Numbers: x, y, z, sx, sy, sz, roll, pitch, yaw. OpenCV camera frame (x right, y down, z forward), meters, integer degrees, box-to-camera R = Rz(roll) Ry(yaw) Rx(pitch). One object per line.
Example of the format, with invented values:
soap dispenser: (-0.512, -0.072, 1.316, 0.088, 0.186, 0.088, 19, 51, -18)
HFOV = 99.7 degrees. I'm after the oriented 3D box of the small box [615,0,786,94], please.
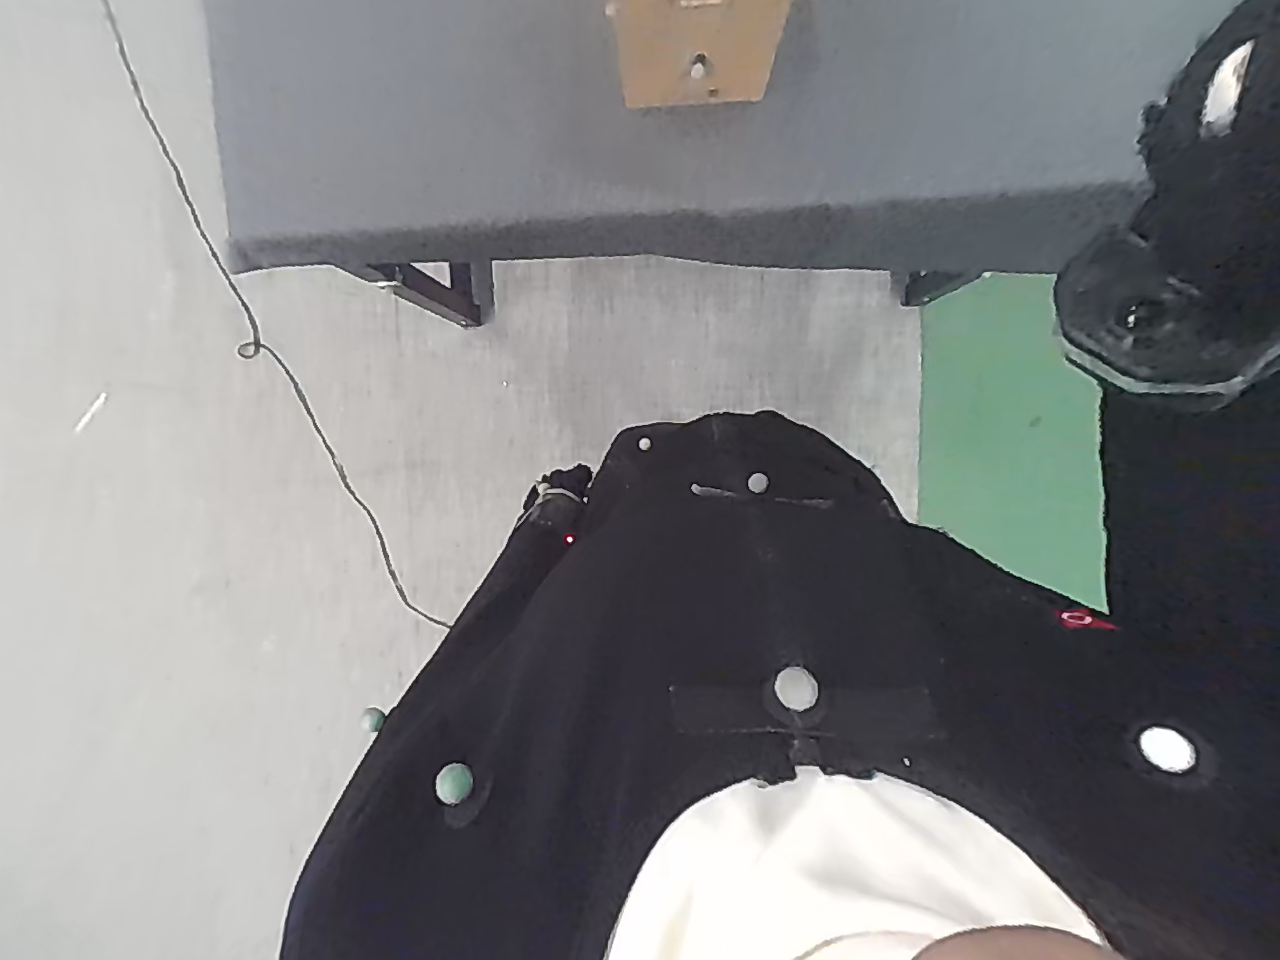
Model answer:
small box: (0.062, -0.534, 0.558, 0.168, 0.176, 0.179, -2, 96, 4)
